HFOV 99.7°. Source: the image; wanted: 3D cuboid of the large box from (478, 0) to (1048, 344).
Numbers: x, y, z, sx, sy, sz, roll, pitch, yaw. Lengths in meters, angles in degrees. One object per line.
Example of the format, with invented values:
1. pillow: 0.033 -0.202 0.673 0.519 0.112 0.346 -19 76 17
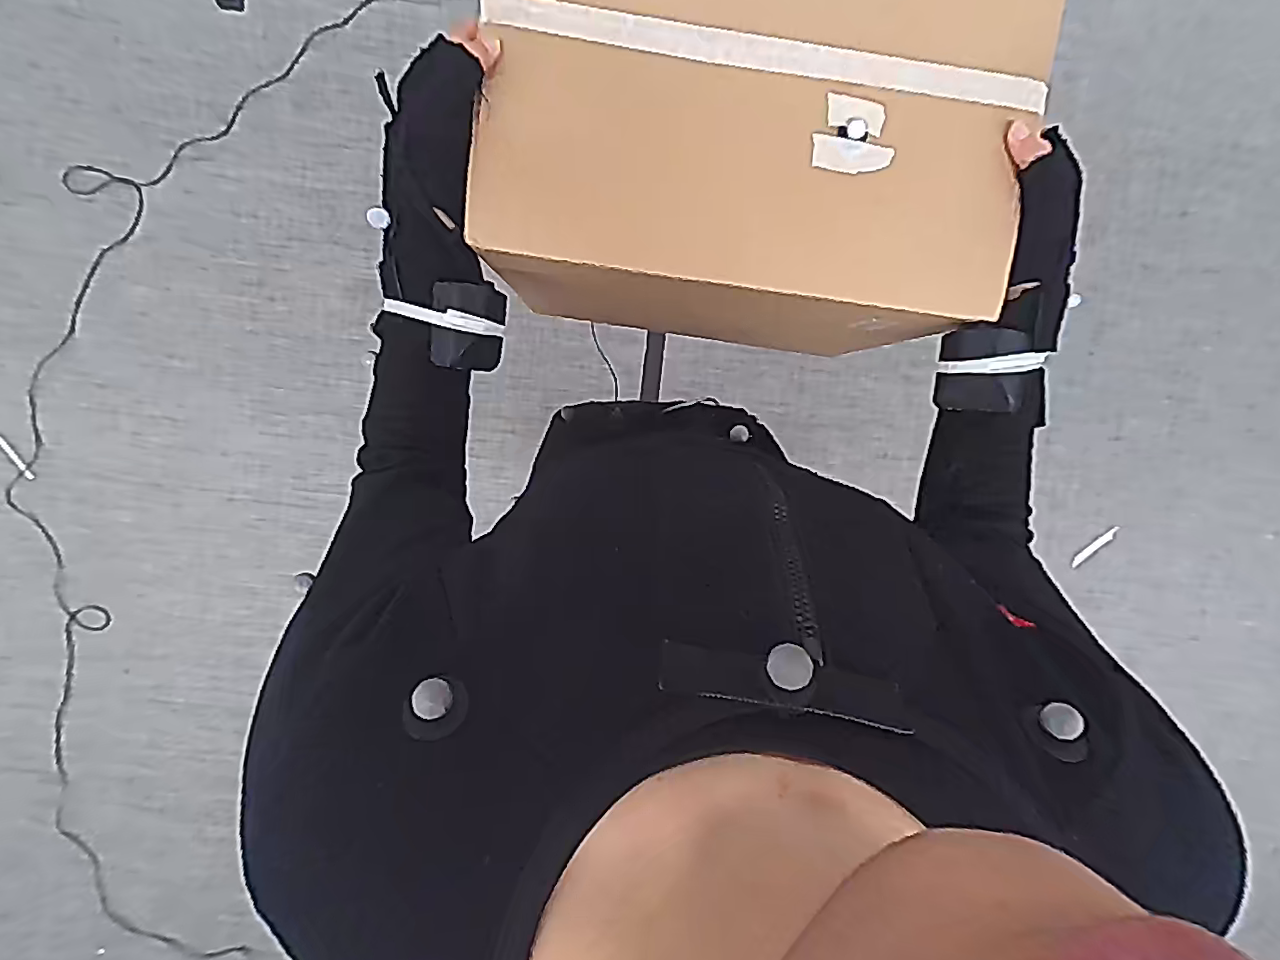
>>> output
1. large box: 0.083 -0.328 0.538 0.408 0.320 0.320 7 99 -4
